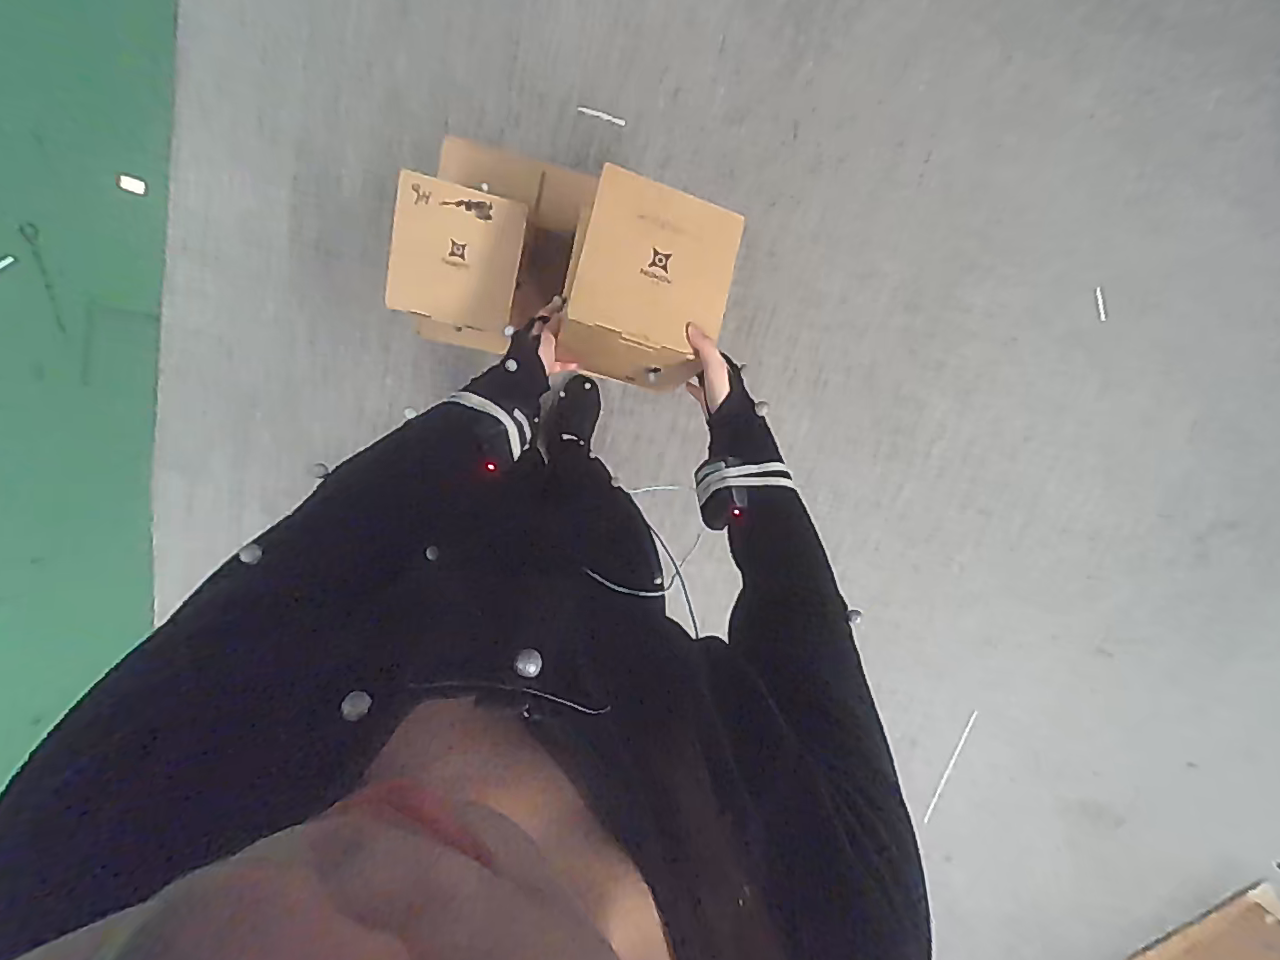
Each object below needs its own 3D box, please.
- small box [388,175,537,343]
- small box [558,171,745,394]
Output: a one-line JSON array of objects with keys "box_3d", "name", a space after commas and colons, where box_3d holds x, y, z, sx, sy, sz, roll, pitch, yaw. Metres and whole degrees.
[{"box_3d": [-0.251, -0.315, 0.799, 0.168, 0.176, 0.179, 12, 106, -11], "name": "small box"}, {"box_3d": [0.002, -0.218, 0.653, 0.168, 0.176, 0.179, 15, 83, -13], "name": "small box"}]
